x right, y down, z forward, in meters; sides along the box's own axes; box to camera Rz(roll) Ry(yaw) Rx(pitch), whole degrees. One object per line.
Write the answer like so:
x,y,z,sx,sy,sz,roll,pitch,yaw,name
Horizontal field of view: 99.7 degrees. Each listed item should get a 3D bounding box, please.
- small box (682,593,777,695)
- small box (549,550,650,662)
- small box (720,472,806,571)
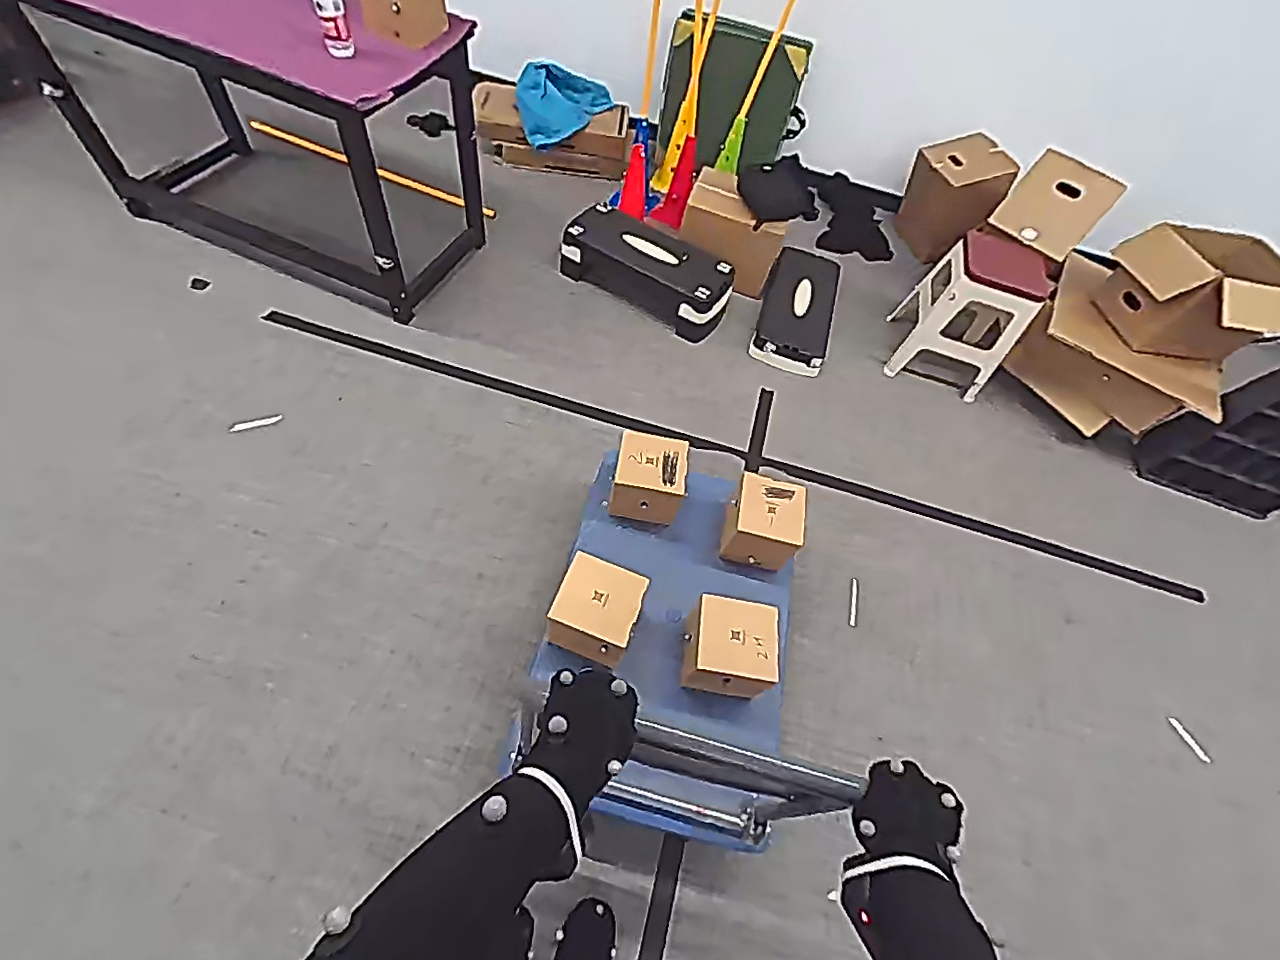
0.198,0.377,1.223,0.179,0.176,0.168,12,57,-3,small box
-0.097,0.291,1.223,0.179,0.176,0.168,22,56,2,small box
0.317,0.112,1.411,0.168,0.176,0.179,15,58,-1,small box
